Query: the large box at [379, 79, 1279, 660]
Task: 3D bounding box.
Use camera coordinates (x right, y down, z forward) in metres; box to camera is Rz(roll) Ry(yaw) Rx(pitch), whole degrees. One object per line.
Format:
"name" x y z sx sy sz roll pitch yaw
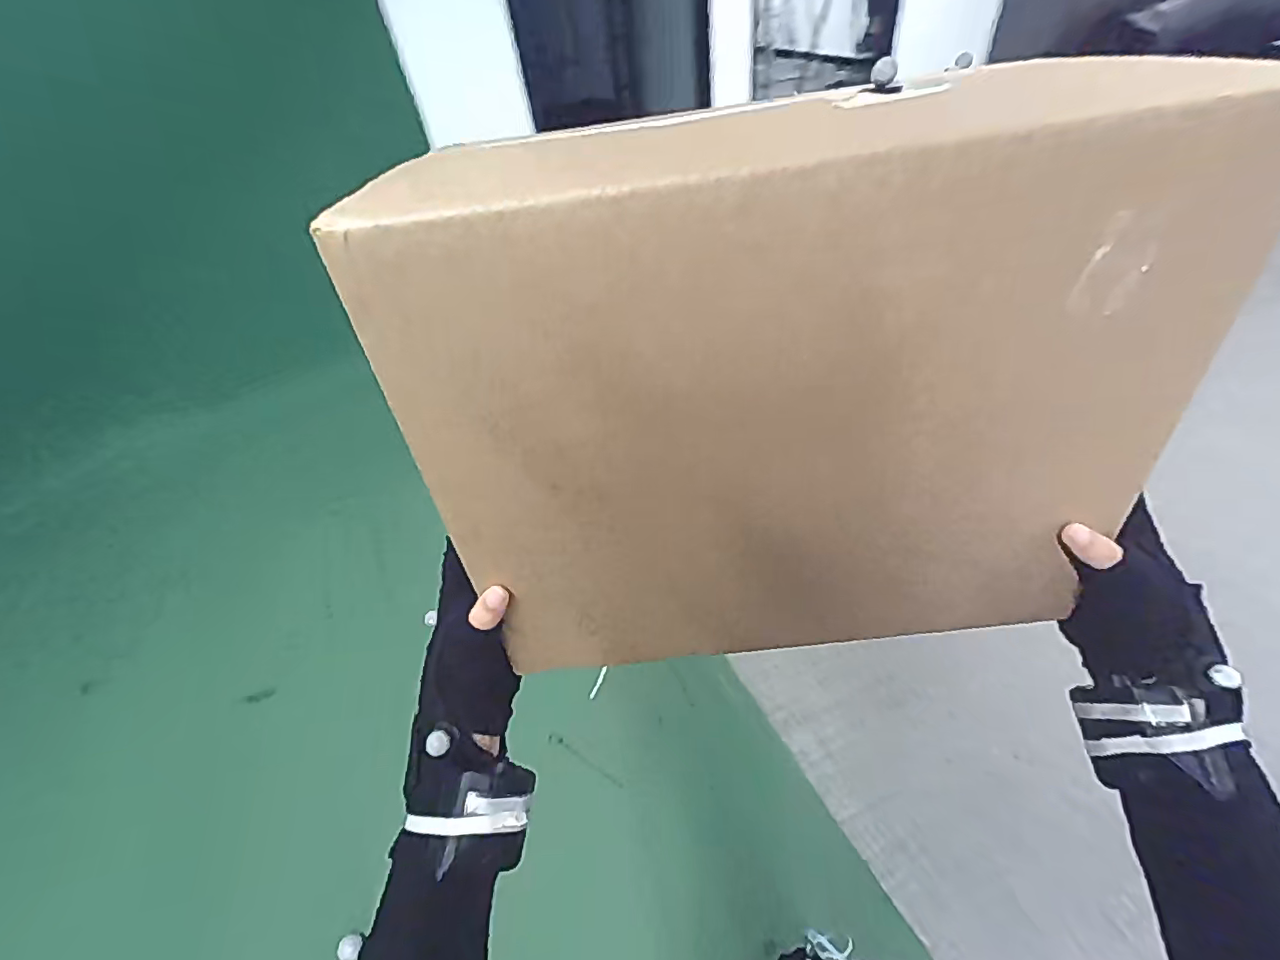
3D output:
"large box" 0.094 -0.094 0.423 0.408 0.320 0.320 -6 38 2
